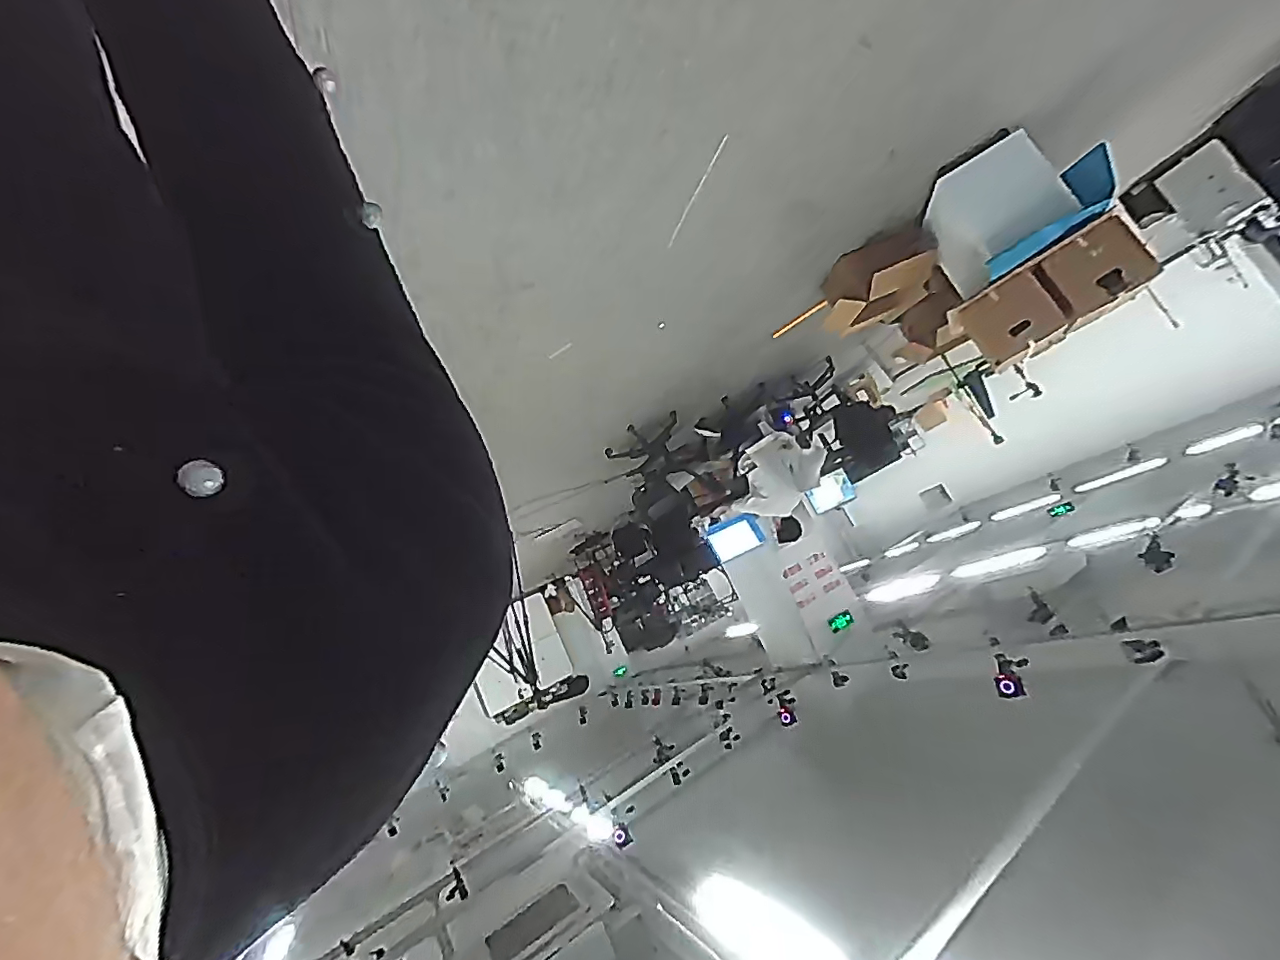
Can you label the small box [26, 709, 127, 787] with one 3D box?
[{"bbox_3d":[-1.840,0.868,1.770,0.168,0.176,0.179,-21,168,-27],"label":"small box"}]
